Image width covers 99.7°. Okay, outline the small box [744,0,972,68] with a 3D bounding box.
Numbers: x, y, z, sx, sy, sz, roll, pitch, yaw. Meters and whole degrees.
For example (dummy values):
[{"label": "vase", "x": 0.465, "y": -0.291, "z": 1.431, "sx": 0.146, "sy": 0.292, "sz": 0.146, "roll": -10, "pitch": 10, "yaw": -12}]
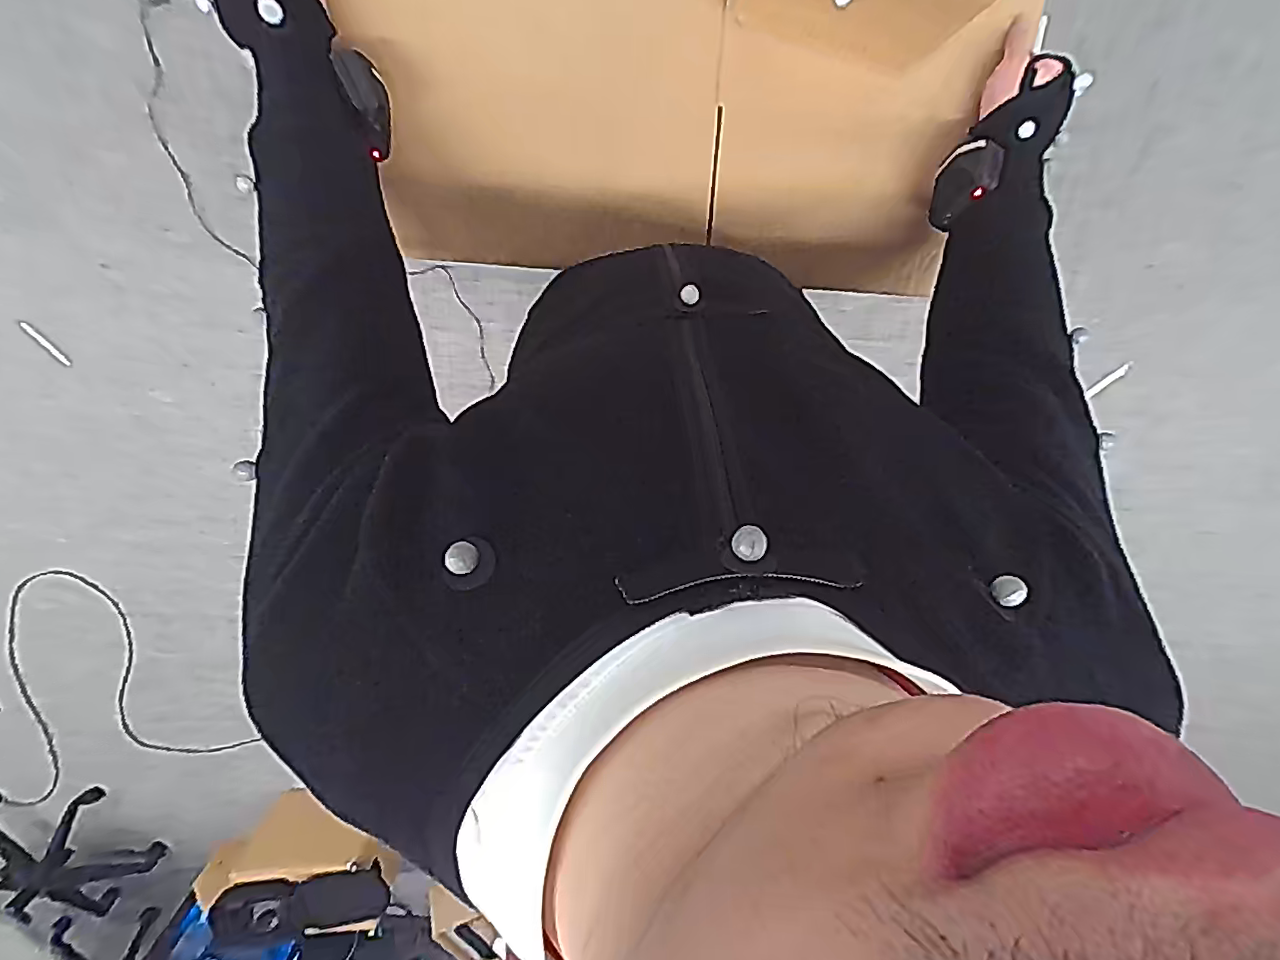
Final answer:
[{"label": "small box", "x": 0.195, "y": -0.462, "z": 0.417, "sx": 0.179, "sy": 0.176, "sz": 0.168, "roll": 13, "pitch": 106, "yaw": -6}]
